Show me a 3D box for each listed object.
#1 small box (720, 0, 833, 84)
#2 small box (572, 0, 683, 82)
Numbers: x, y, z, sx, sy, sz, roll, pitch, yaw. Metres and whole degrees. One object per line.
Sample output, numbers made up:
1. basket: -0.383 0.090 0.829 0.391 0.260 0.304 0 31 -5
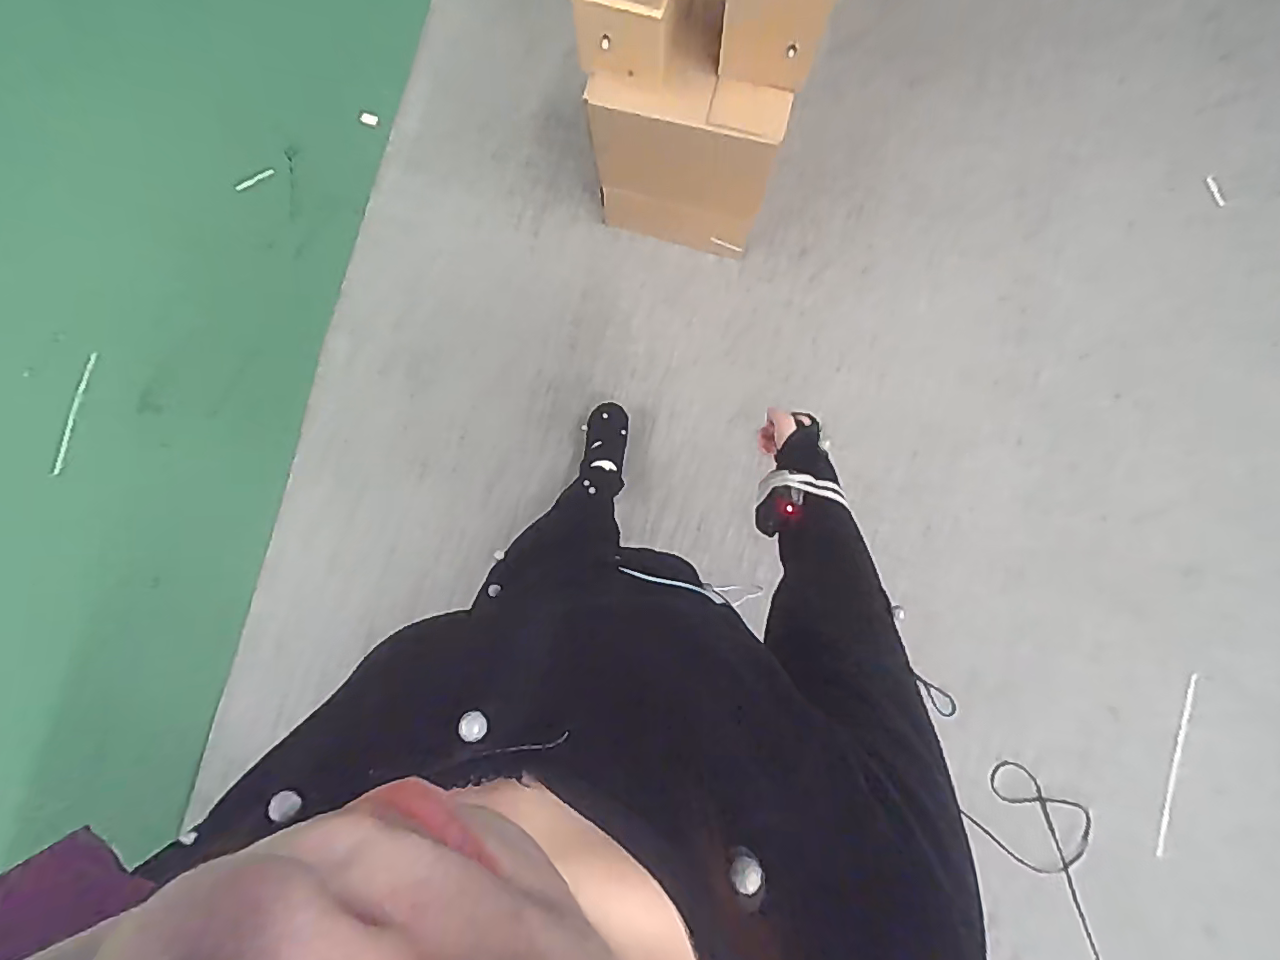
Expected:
1. small box: 0.255 -0.871 0.987 0.179 0.176 0.168 14 87 3
2. small box: -0.015 -0.885 0.991 0.168 0.176 0.179 16 88 1
